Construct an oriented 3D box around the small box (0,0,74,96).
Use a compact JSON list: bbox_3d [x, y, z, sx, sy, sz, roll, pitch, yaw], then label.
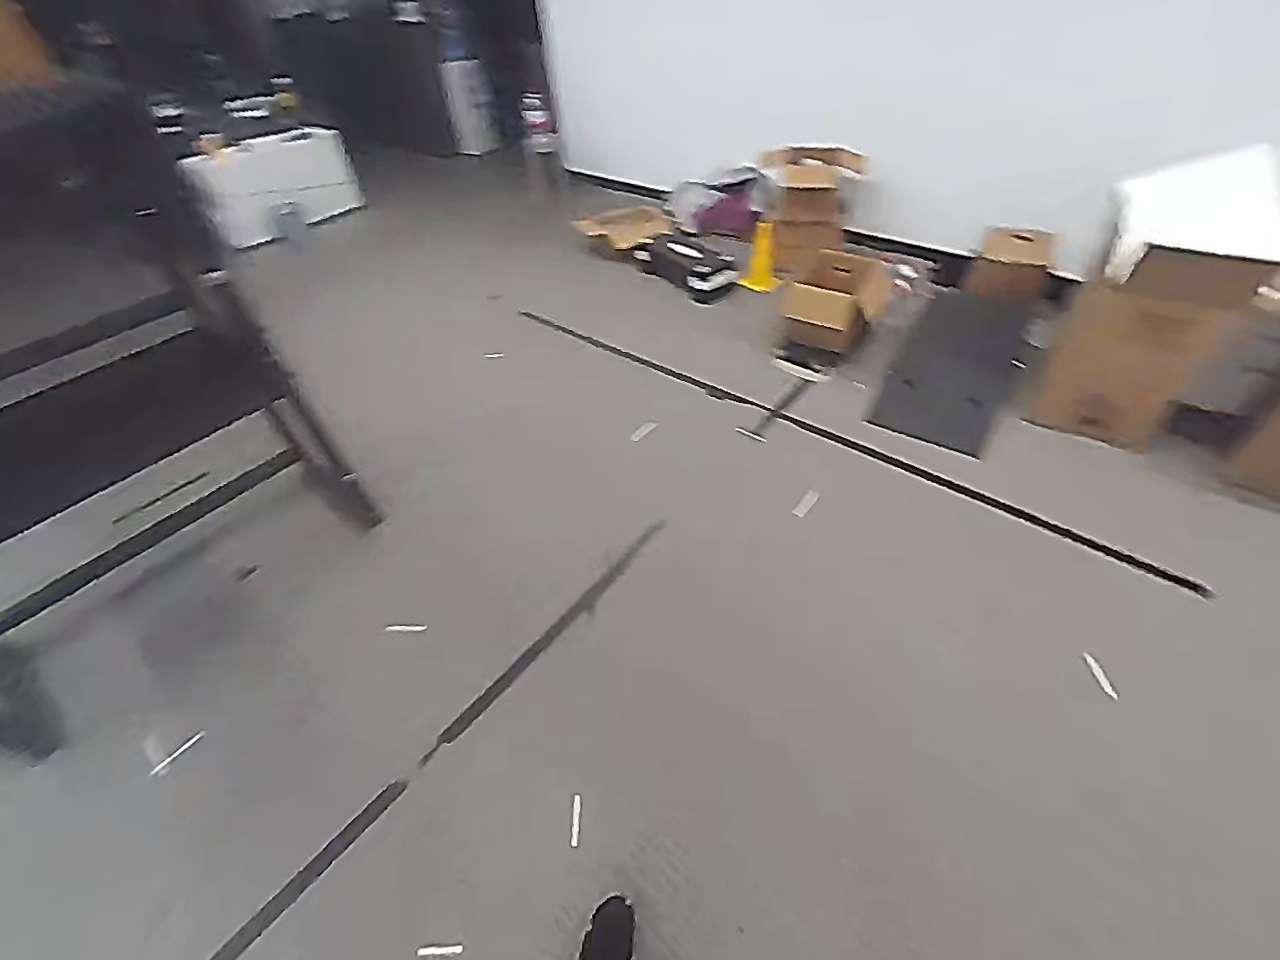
[{"bbox_3d":[-1.358,-0.922,1.135,0.168,0.176,0.179,-37,54,-27],"label":"small box"}]
